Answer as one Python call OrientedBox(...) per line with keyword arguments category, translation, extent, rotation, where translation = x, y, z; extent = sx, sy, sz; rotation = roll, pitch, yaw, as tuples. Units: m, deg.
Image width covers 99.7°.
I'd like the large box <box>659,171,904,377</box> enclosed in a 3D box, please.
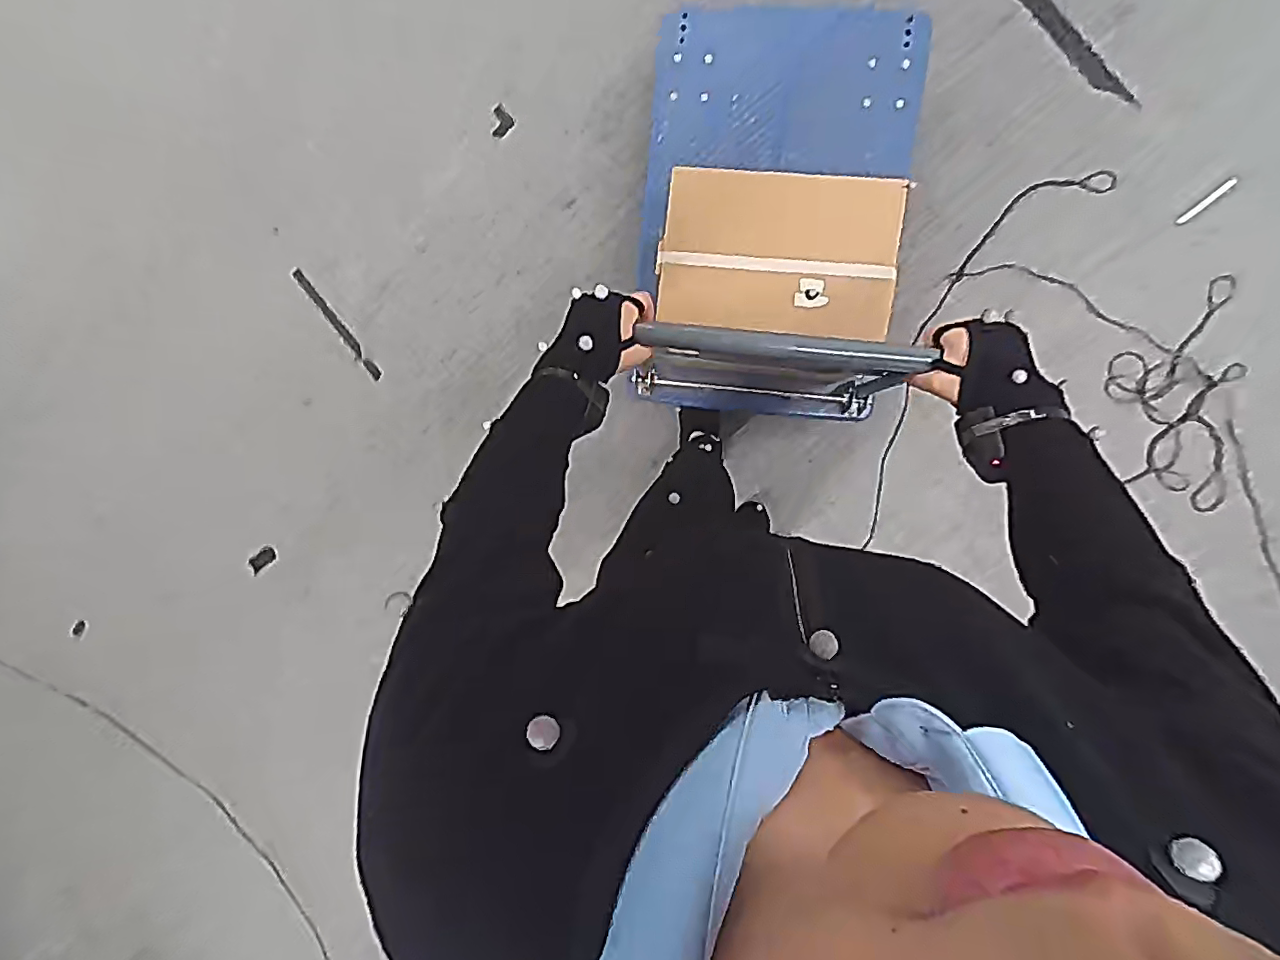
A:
OrientedBox(category="large box", translation=(0.257, -0.392, 1.103), extent=(0.408, 0.320, 0.320), rotation=(6, 97, 6))
